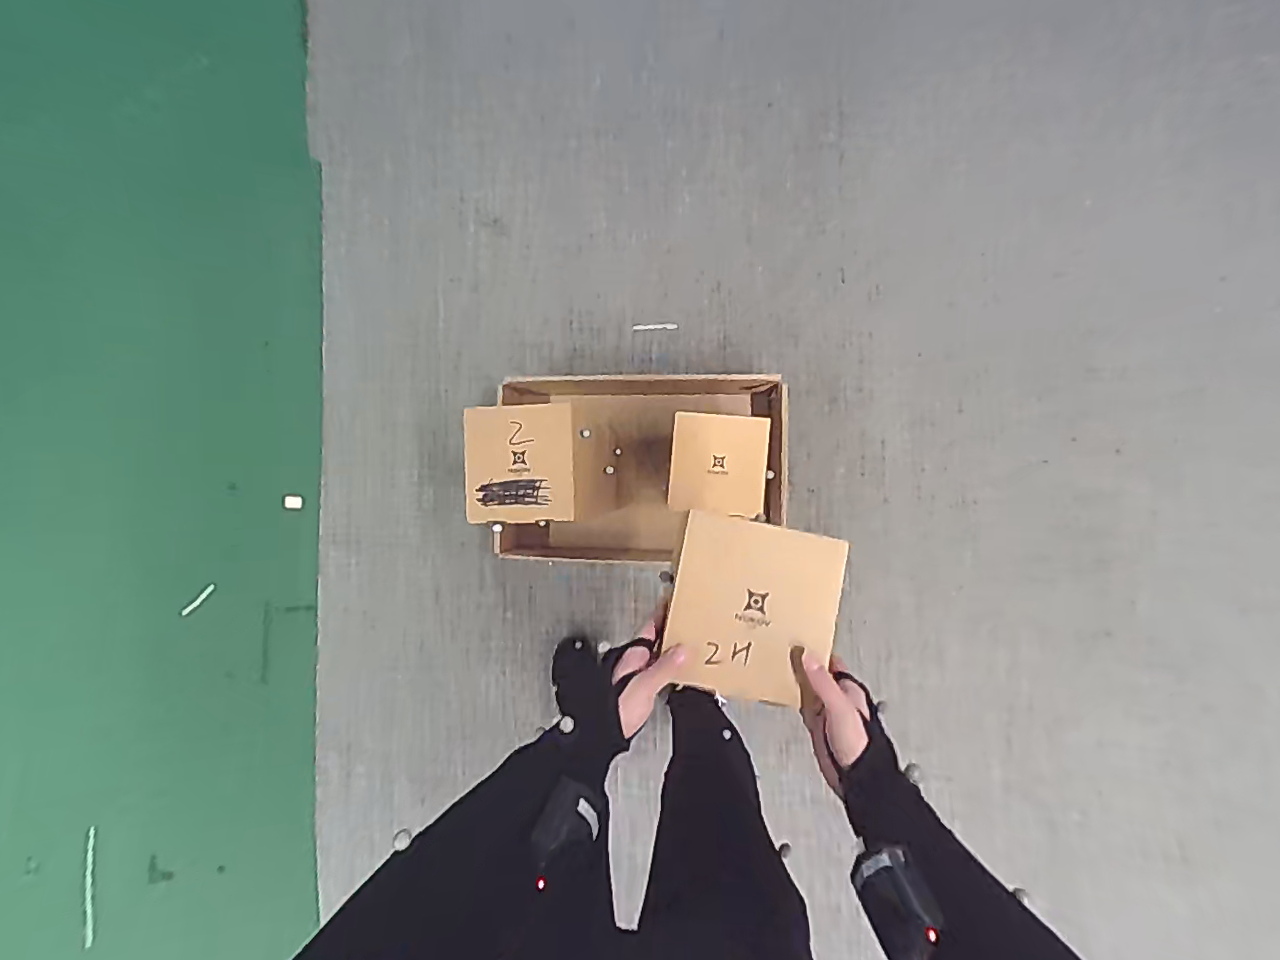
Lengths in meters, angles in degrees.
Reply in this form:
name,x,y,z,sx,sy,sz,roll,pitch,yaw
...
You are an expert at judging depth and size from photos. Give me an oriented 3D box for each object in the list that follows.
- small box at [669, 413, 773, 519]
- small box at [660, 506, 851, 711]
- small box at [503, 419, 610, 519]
name,x,y,z,sx,sy,sz,roll,pitch,yaw
small box,0.144,-0.022,1.006,0.168,0.176,0.179,5,90,5
small box,0.118,0.133,0.620,0.168,0.176,0.179,12,86,2
small box,-0.154,-0.015,1.035,0.168,0.176,0.179,-1,88,7
